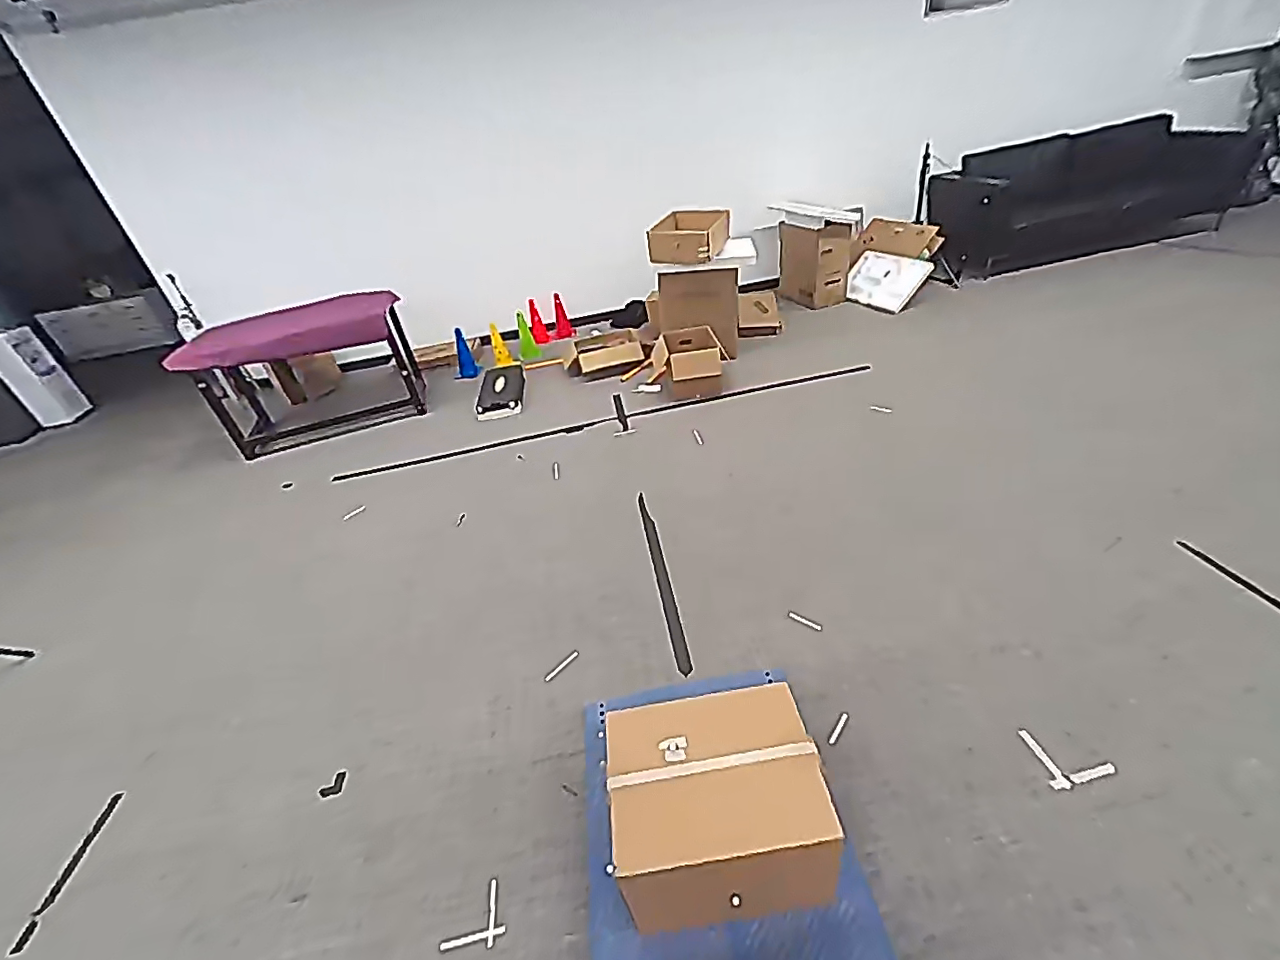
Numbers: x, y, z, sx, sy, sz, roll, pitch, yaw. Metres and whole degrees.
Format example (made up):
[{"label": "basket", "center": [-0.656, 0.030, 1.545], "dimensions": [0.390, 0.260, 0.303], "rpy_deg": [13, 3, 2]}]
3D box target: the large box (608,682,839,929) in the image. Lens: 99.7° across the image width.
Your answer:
[{"label": "large box", "center": [0.166, 0.690, 1.155], "dimensions": [0.408, 0.320, 0.320], "rpy_deg": [-11, 33, 0]}]
